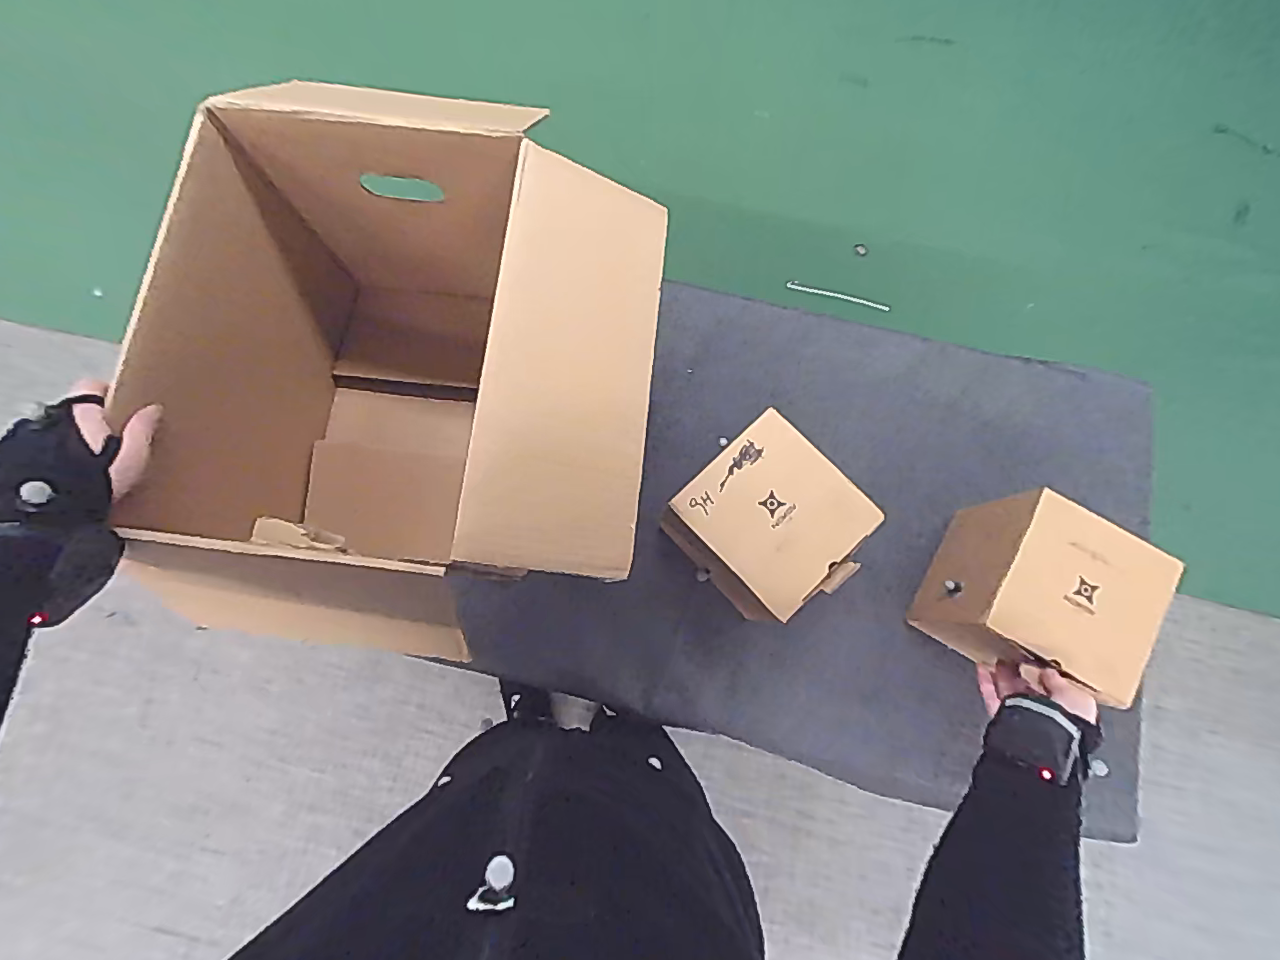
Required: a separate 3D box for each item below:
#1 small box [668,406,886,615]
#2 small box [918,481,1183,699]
[{"bbox_3d":[0.152,0.043,0.668,0.168,0.176,0.179,-42,82,-9],"label":"small box"},{"bbox_3d":[0.472,0.129,0.653,0.168,0.176,0.179,30,79,5],"label":"small box"}]
